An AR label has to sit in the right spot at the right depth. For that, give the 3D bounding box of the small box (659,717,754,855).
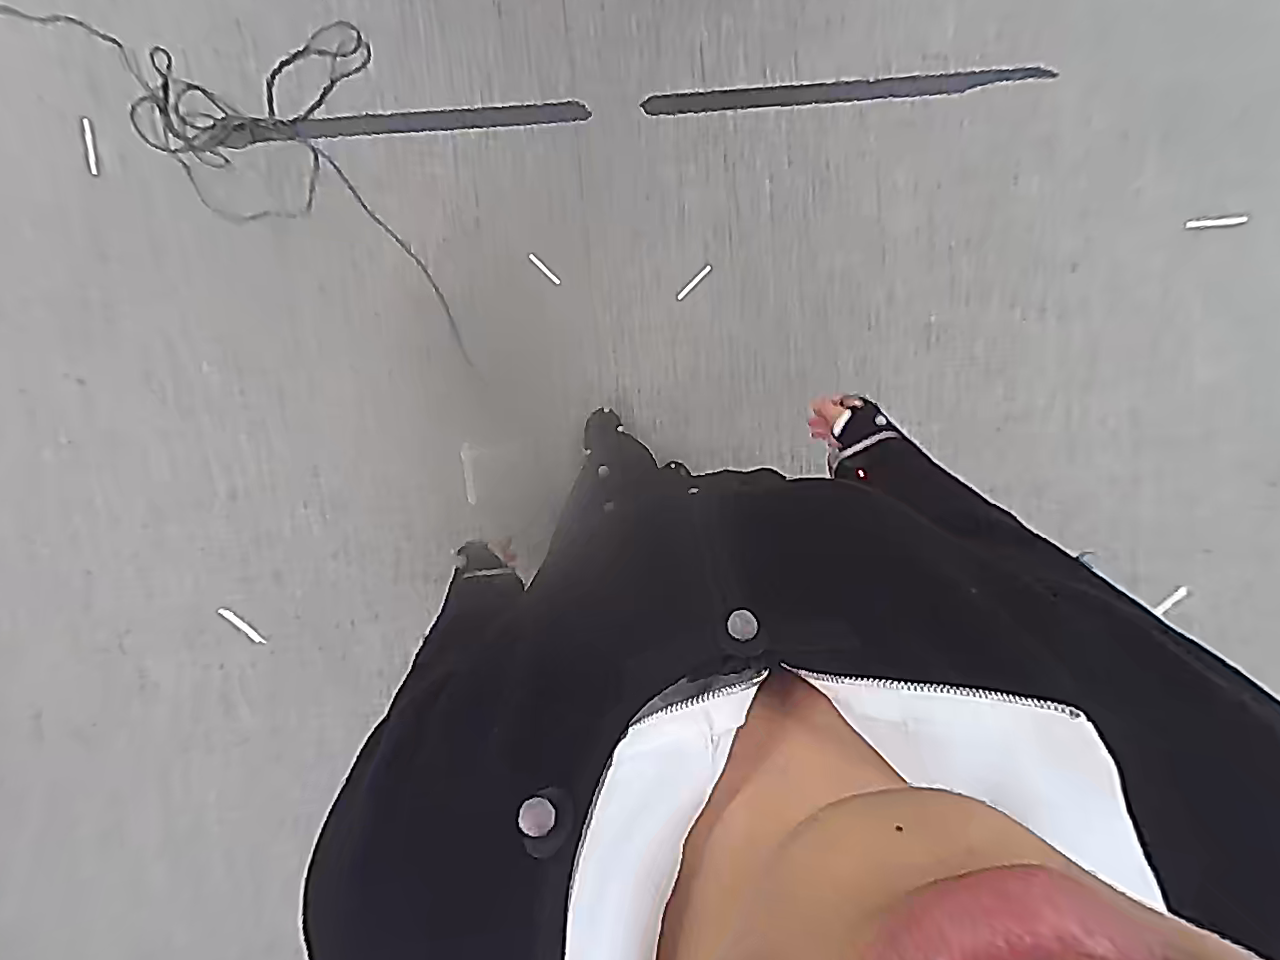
[{"bbox_3d":[0.131,0.618,1.107,0.168,0.176,0.179,-8,96,1],"label":"small box"}]

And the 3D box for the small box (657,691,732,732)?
[{"bbox_3d":[0.130,0.596,1.270,0.168,0.176,0.179,-6,96,1],"label":"small box"}]
